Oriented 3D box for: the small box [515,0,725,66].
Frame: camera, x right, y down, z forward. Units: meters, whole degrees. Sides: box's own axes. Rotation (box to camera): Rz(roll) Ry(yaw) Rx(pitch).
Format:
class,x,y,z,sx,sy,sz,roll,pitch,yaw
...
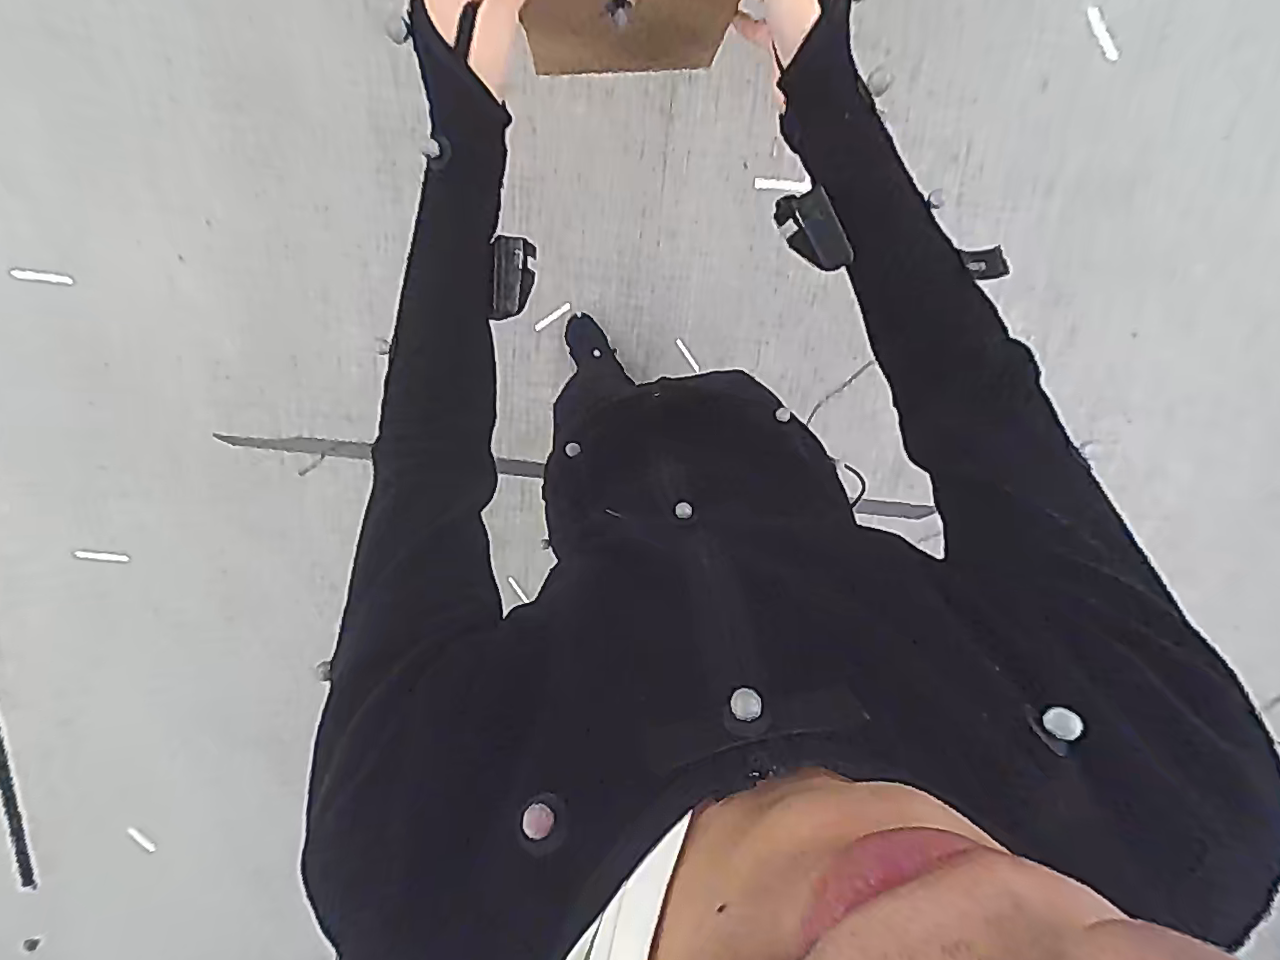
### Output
class,x,y,z,sx,sy,sz,roll,pitch,yaw
small box,-0.018,-0.452,0.420,0.179,0.176,0.168,-4,108,-4
